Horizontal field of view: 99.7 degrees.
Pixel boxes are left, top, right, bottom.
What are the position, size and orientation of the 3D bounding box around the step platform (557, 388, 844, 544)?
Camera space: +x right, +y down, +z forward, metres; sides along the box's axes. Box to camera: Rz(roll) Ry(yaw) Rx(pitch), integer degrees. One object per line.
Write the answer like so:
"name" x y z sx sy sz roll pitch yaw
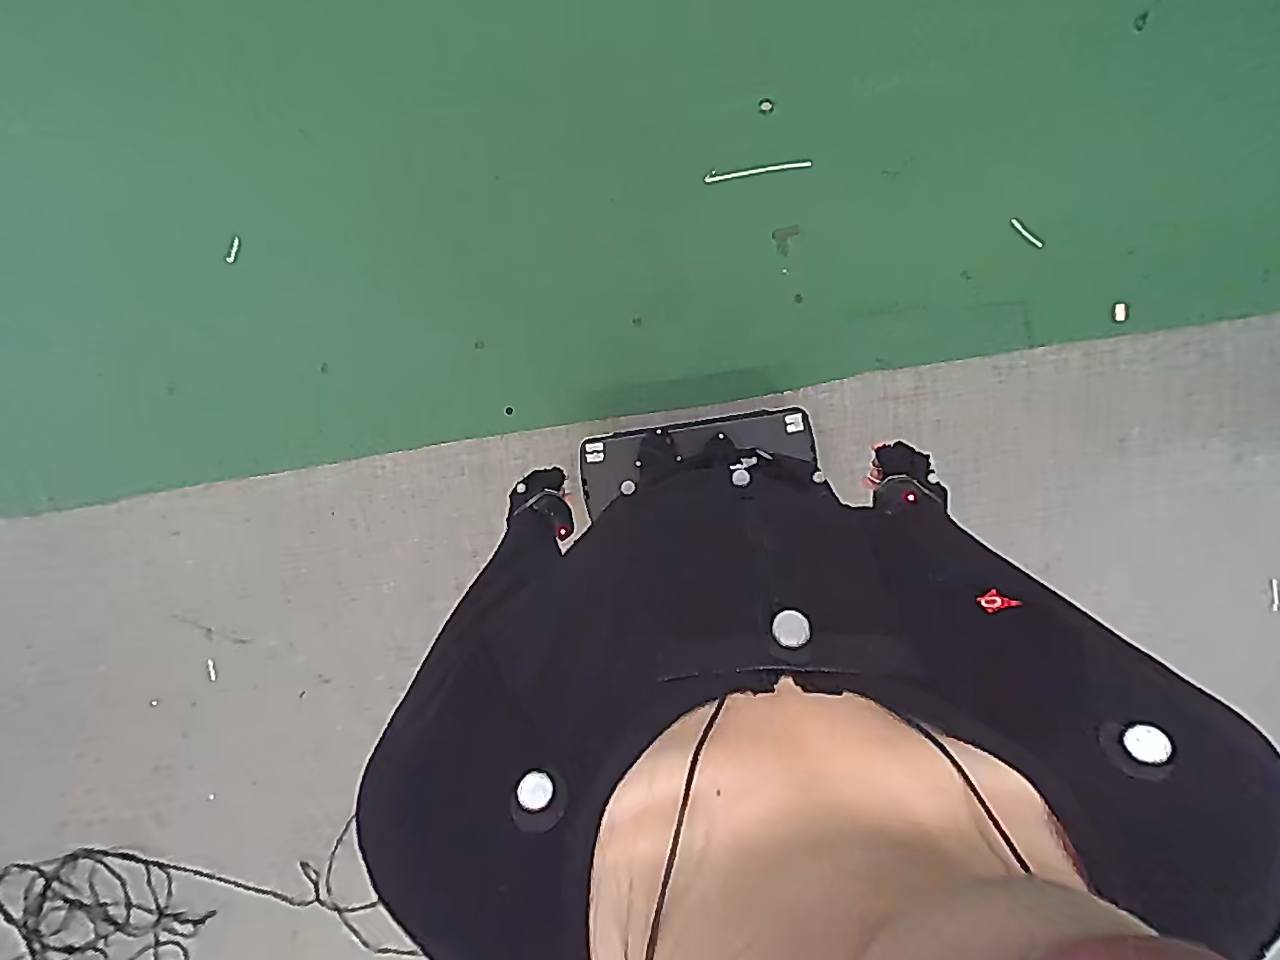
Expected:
"step platform" 0.147 -0.041 1.382 0.684 0.204 0.286 -9 96 3
